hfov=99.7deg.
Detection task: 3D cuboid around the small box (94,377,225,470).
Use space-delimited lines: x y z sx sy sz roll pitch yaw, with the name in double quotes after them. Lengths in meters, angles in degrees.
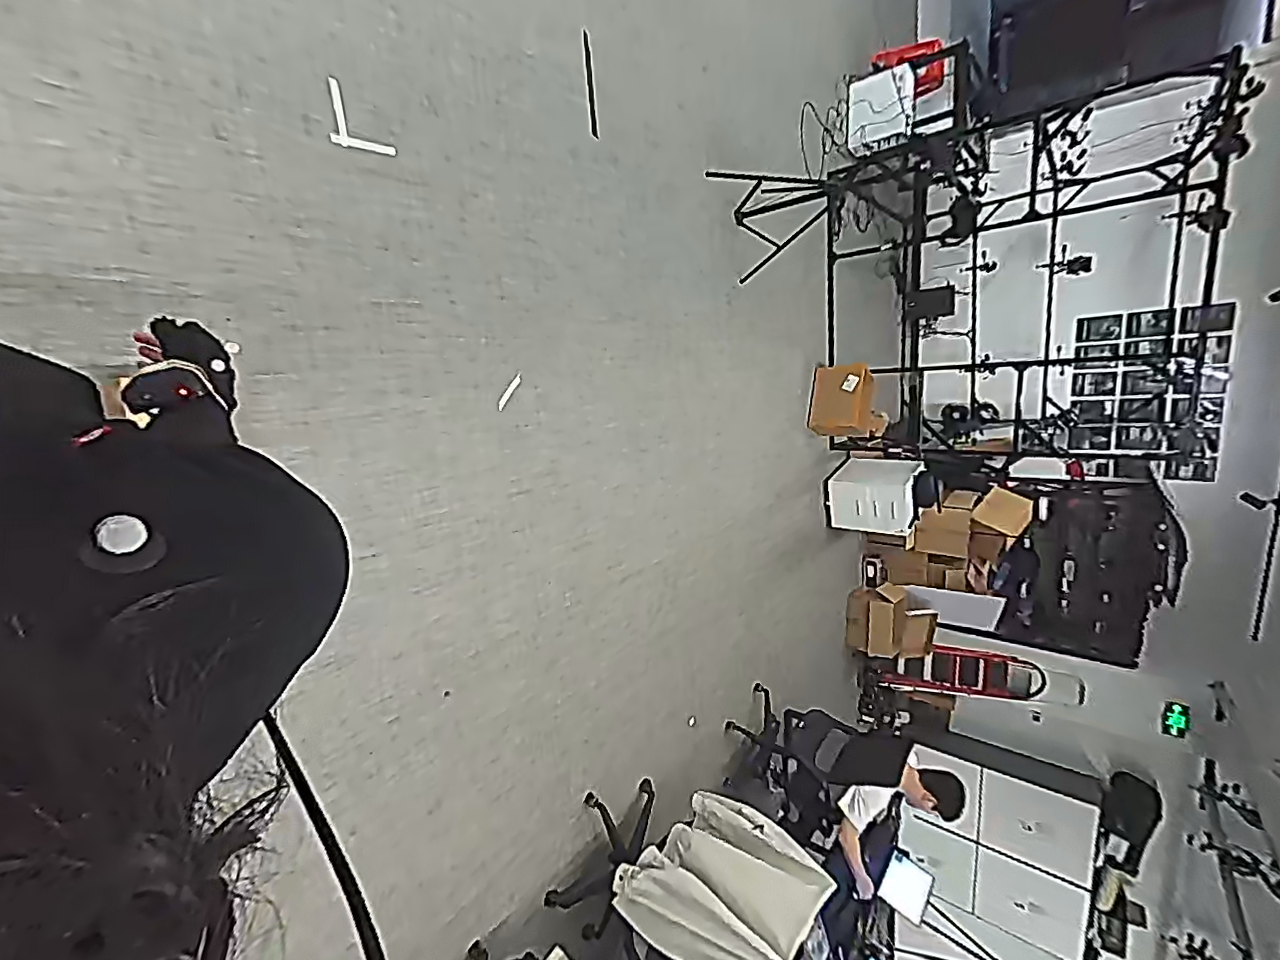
-0.988 -0.118 1.113 0.168 0.176 0.179 -12 104 -49 "small box"
